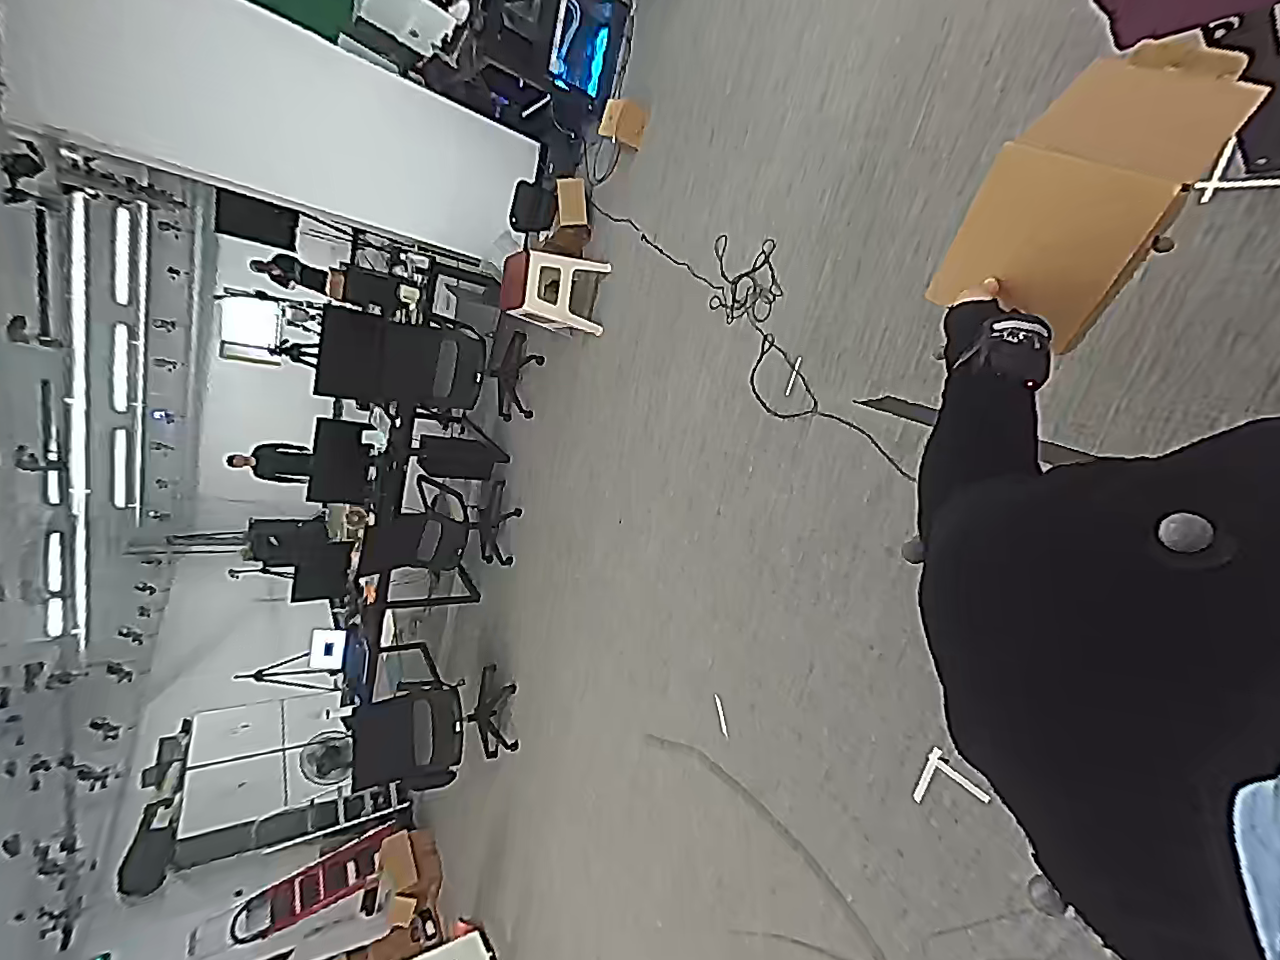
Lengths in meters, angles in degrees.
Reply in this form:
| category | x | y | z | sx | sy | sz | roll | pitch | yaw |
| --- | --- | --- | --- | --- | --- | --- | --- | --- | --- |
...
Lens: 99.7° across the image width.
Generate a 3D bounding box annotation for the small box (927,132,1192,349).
| category | x | y | z | sx | sy | sz | roll | pitch | yaw |
| --- | --- | --- | --- | --- | --- | --- | --- | --- | --- |
| small box | 0.485 | -0.274 | 0.640 | 0.168 | 0.176 | 0.179 | 41 | 127 | 28 |
